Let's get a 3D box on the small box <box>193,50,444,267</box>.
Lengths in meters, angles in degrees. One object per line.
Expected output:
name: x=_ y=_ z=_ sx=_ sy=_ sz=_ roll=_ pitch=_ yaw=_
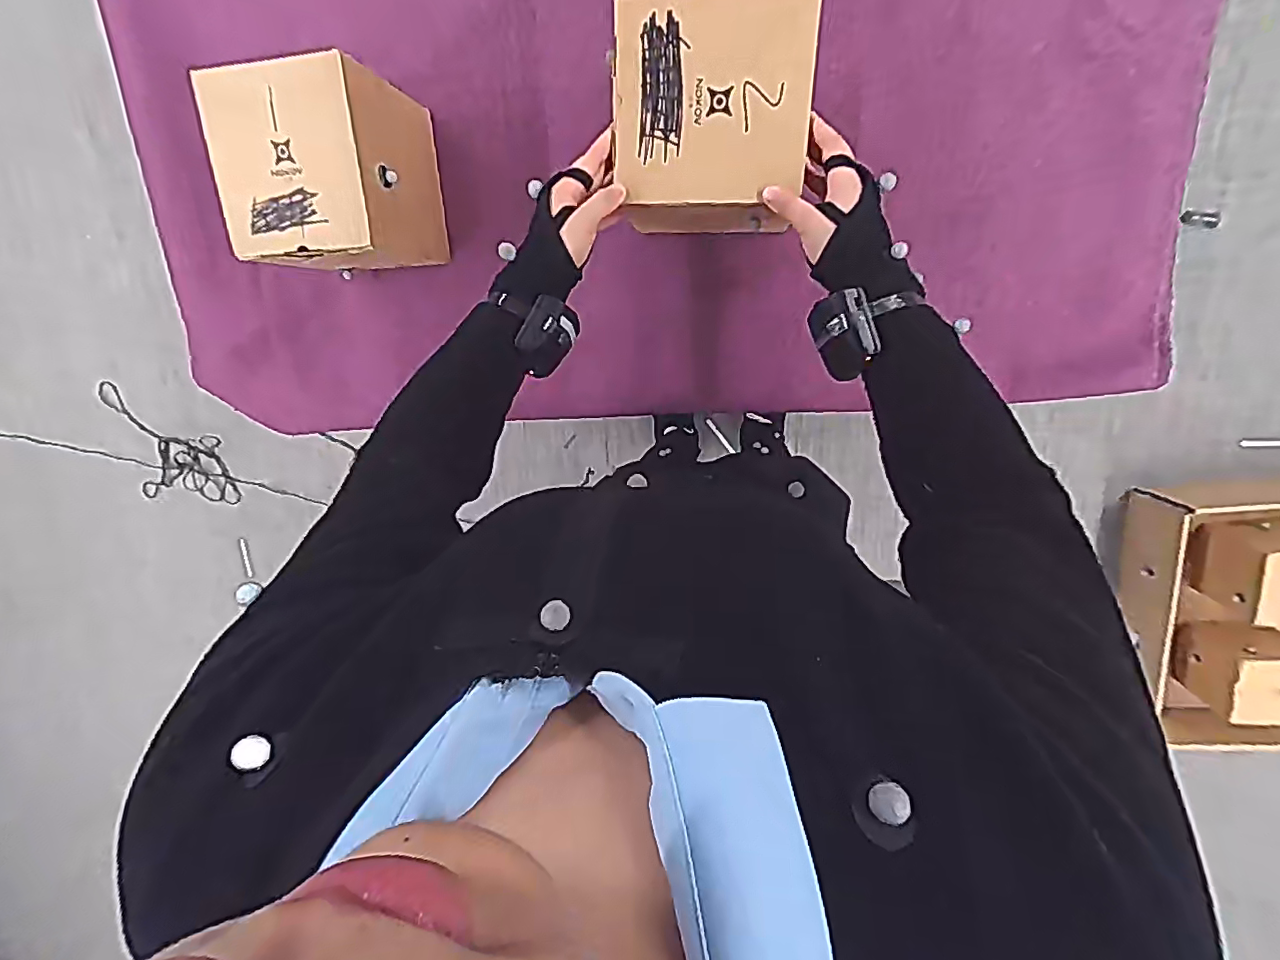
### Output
small box: x=-0.344 y=-0.343 z=0.618 sx=0.168 sy=0.176 sz=0.179 roll=0 pitch=106 yaw=9

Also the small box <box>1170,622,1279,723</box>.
small box: x=1.426 y=0.448 z=1.278 sx=0.179 sy=0.176 sz=0.168 roll=-4 pitch=105 yaw=11

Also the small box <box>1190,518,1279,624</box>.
small box: x=1.393 y=0.200 z=1.208 sx=0.168 sy=0.176 sz=0.179 roll=-6 pitch=106 yaw=10
